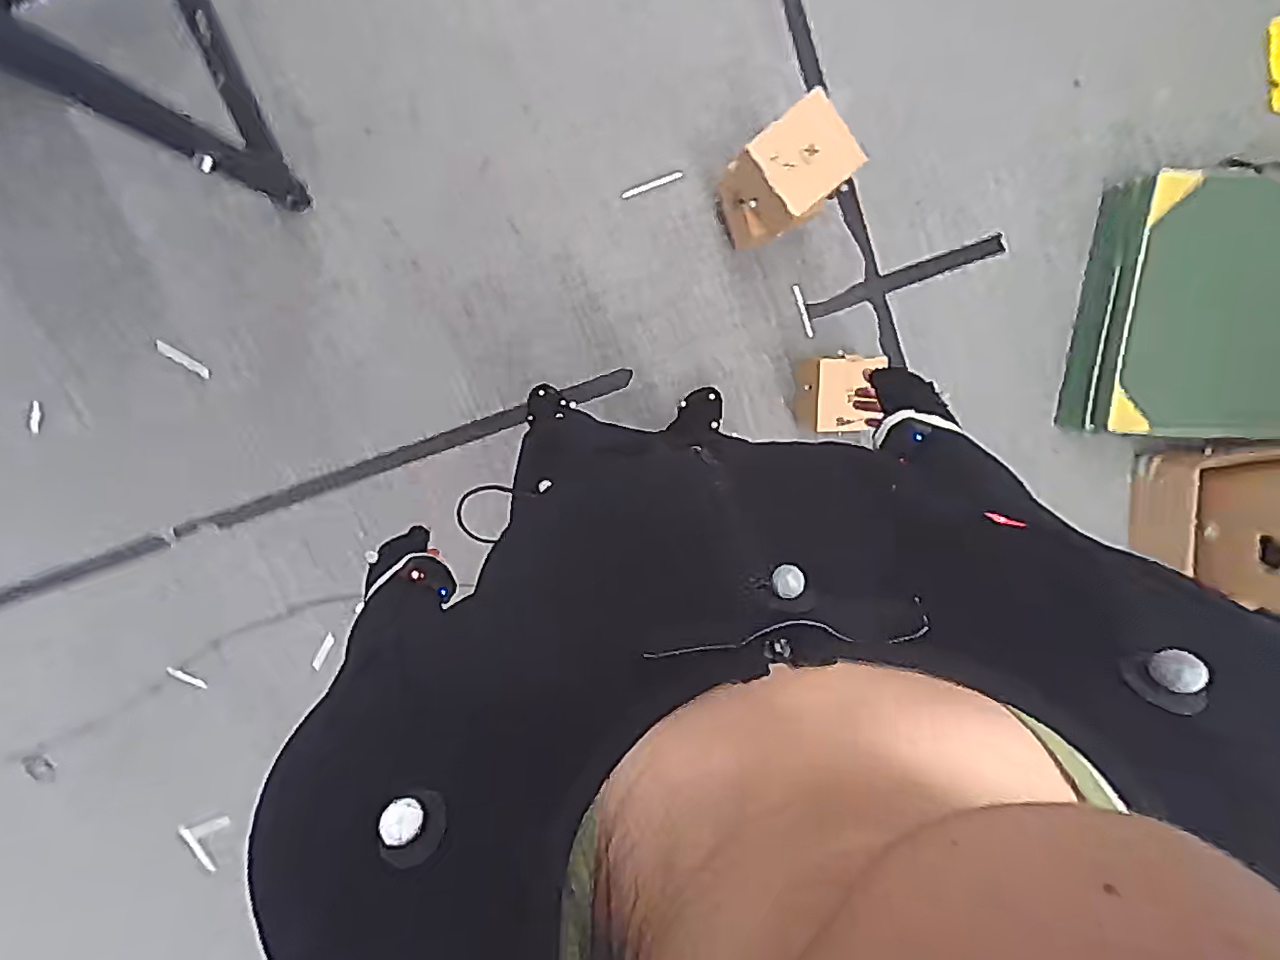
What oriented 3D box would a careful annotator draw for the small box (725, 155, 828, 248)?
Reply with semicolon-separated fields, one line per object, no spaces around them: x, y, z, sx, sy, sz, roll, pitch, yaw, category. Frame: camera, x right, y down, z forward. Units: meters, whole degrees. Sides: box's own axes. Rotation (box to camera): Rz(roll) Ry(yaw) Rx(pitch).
0.309;-0.667;1.266;0.179;0.176;0.168;-21;102;2;small box

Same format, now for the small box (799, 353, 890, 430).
0.510;-0.227;1.369;0.168;0.176;0.179;-4;104;-1;small box

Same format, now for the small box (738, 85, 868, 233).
0.322;-0.641;1.104;0.179;0.176;0.168;-33;100;8;small box
